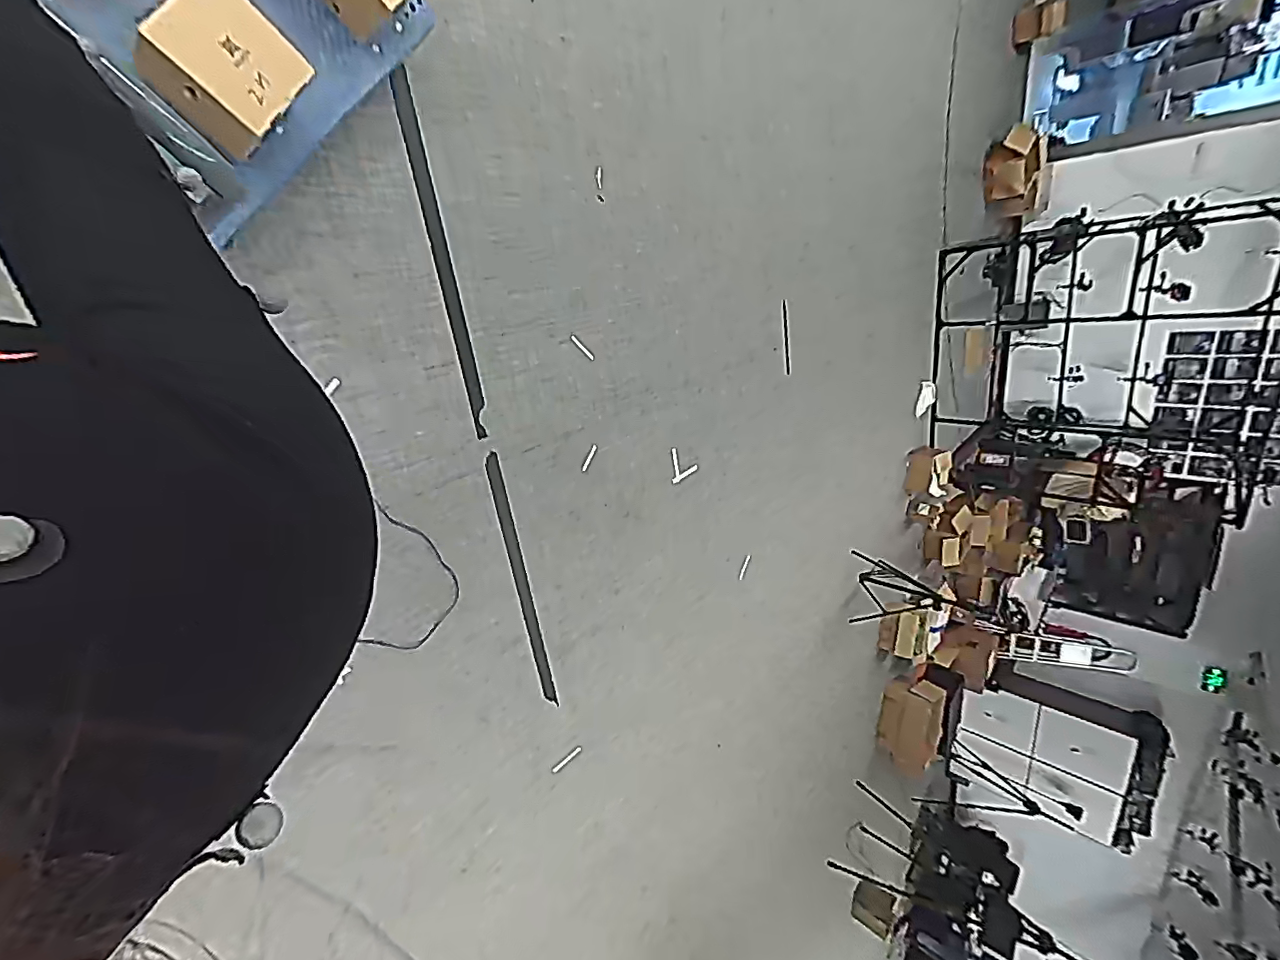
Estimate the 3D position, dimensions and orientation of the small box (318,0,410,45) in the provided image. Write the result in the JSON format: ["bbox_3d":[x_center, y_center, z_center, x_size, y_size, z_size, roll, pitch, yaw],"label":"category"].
[{"bbox_3d":[-0.528,-0.993,1.035,0.168,0.176,0.179,46,67,-42],"label":"small box"}]

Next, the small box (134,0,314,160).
[{"bbox_3d":[-0.708,-0.686,0.917,0.179,0.176,0.168,42,69,-43],"label":"small box"}]
